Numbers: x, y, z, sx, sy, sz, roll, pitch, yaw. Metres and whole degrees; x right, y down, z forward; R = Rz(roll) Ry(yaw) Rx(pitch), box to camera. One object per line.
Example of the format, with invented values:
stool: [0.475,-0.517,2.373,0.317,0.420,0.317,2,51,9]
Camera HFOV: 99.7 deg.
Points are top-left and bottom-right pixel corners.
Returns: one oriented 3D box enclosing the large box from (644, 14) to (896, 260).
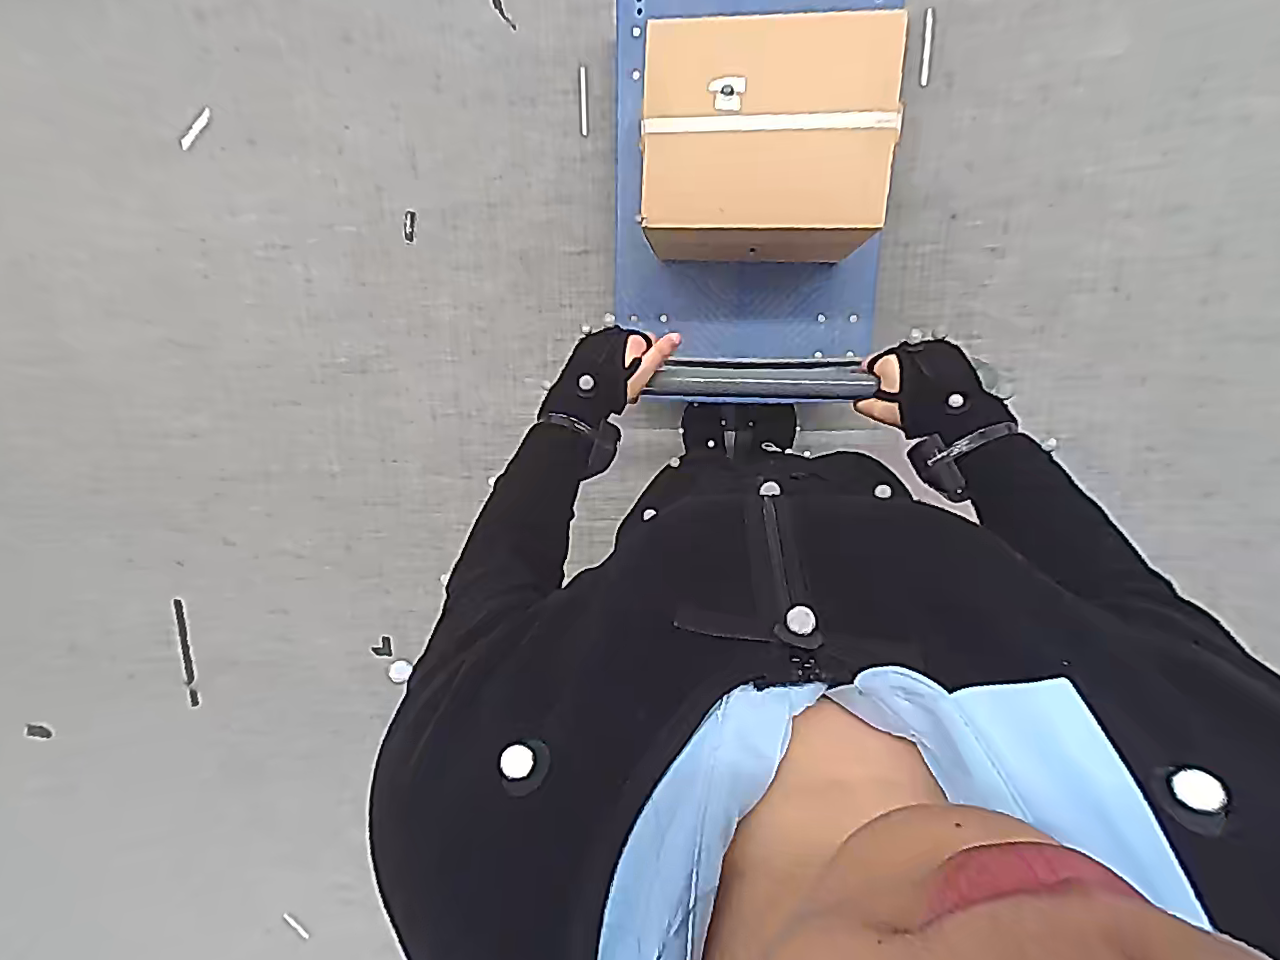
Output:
large box: [0.228,-0.616,1.044,0.408,0.320,0.320,3,101,8]
